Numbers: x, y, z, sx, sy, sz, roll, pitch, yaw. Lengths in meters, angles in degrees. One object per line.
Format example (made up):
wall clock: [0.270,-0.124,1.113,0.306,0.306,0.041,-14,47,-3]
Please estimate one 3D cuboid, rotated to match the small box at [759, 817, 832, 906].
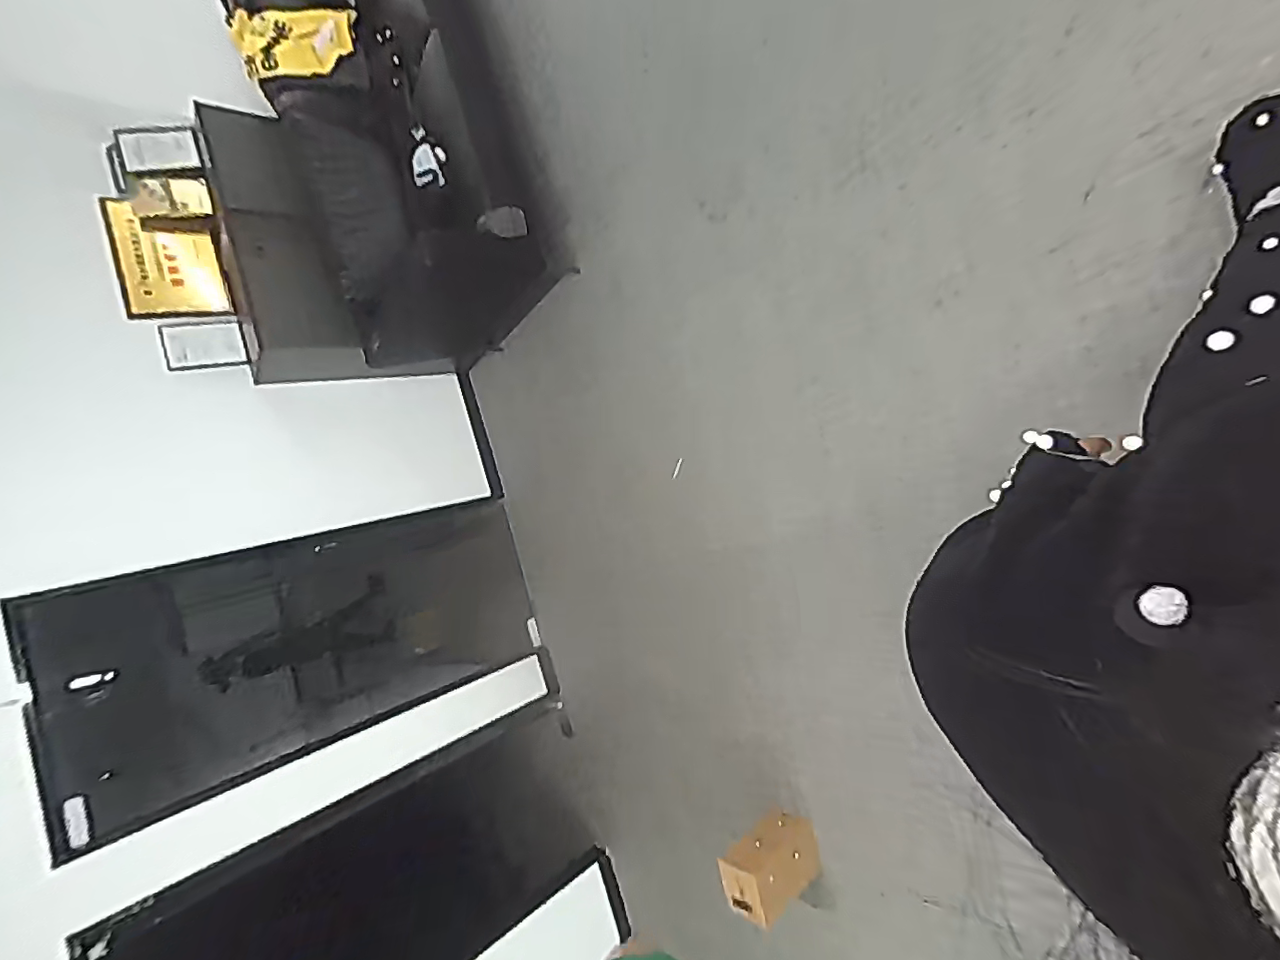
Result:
small box: [0.559,1.351,1.934,0.168,0.176,0.179,-15,89,50]
